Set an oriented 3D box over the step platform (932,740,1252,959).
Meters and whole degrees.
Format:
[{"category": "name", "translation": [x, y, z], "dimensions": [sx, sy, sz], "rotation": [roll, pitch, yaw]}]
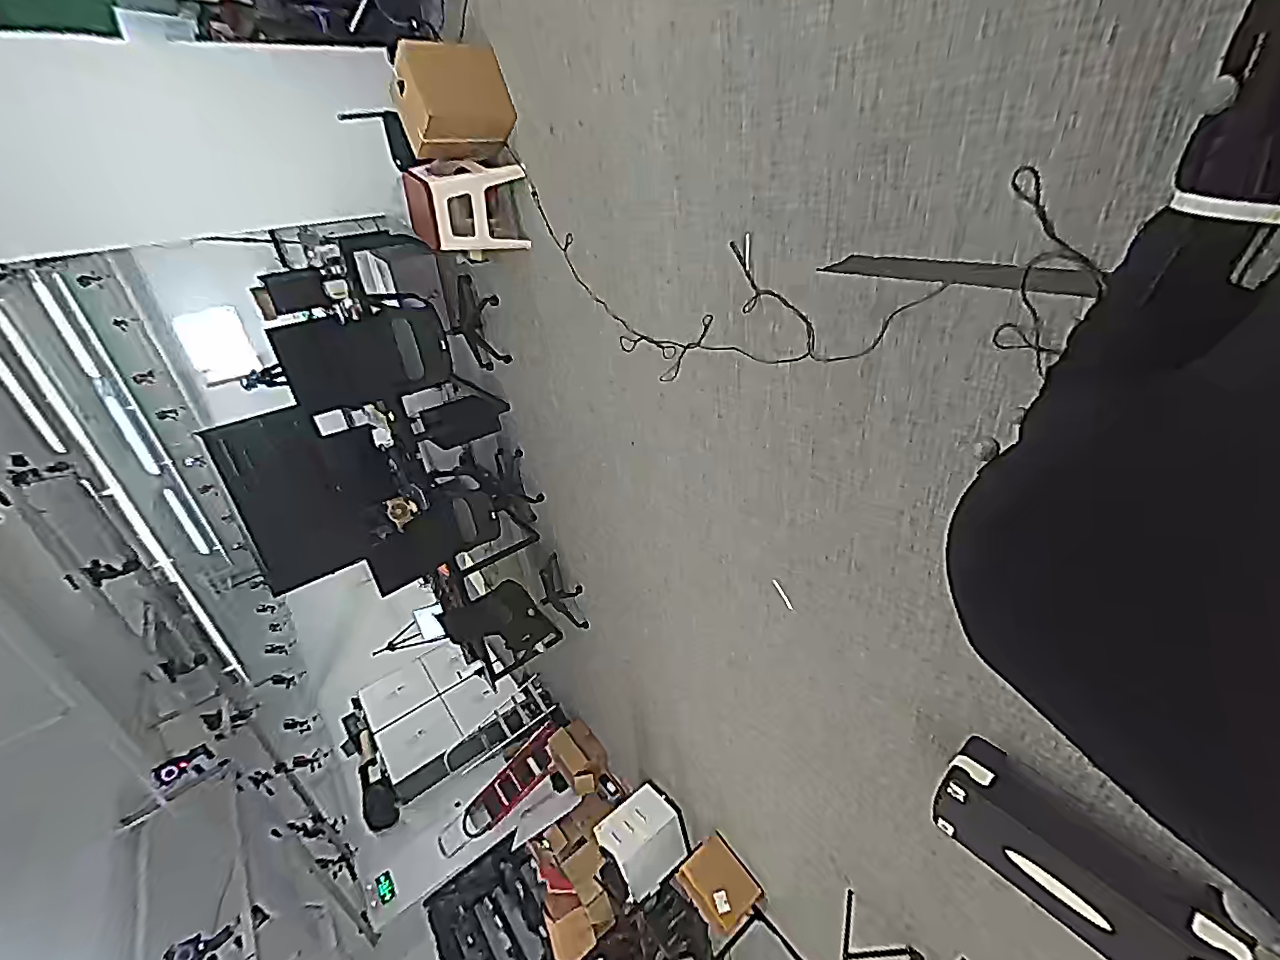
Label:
[{"category": "step platform", "translation": [1.216, 1.100, 1.548], "dimensions": [0.684, 0.204, 0.286], "rotation": [28, 135, 45]}]
